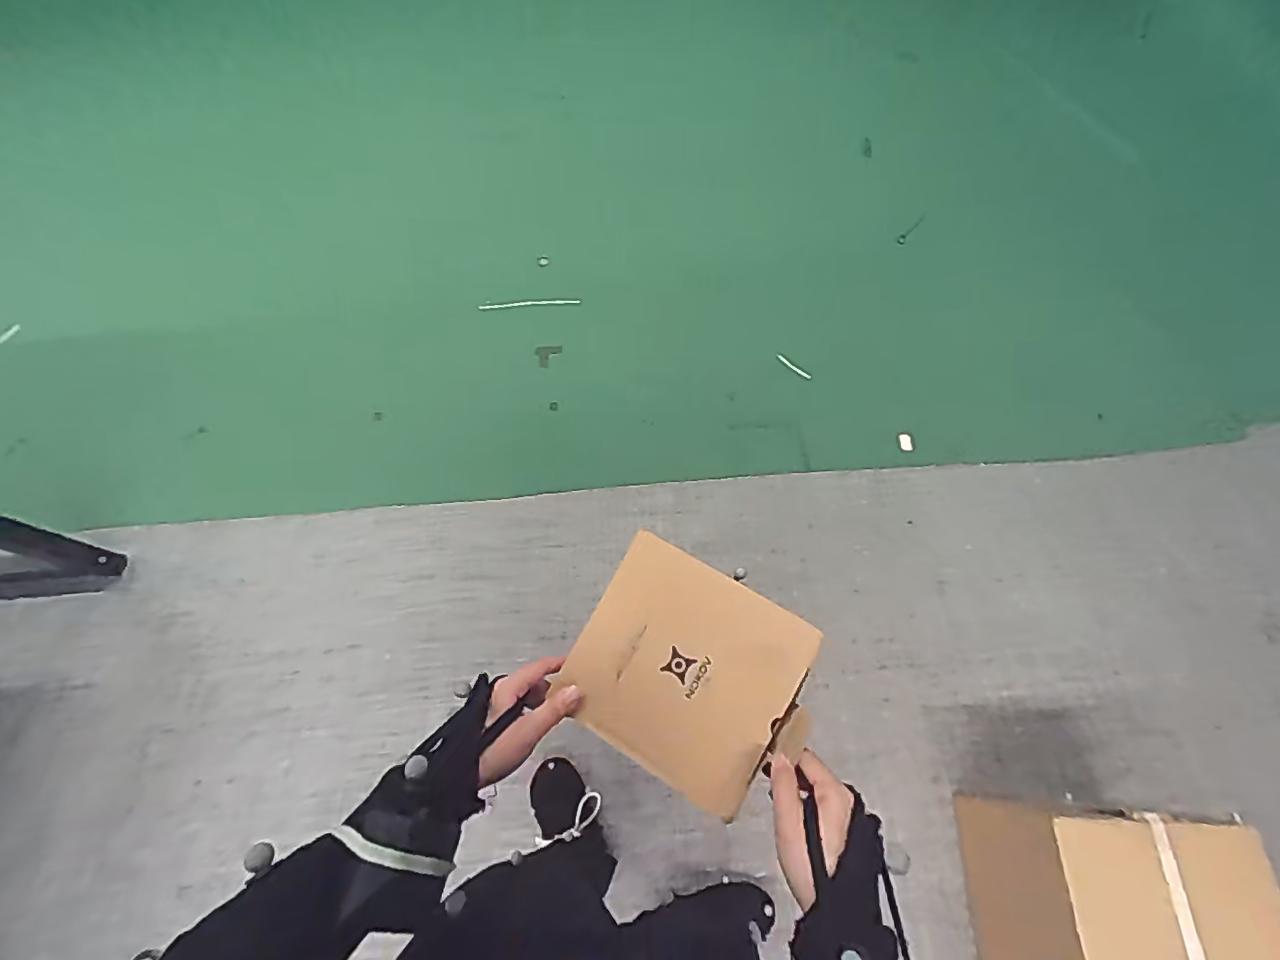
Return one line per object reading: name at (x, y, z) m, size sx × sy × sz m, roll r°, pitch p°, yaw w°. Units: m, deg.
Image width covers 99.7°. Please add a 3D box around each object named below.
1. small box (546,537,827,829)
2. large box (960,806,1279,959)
small box at (0.046, 0.171, 0.508) m, size 0.179 × 0.176 × 0.168 m, roll 27°, pitch 82°, yaw 14°
large box at (0.790, 0.780, 0.879) m, size 0.320 × 0.320 × 0.408 m, roll 1°, pitch 65°, yaw 2°
